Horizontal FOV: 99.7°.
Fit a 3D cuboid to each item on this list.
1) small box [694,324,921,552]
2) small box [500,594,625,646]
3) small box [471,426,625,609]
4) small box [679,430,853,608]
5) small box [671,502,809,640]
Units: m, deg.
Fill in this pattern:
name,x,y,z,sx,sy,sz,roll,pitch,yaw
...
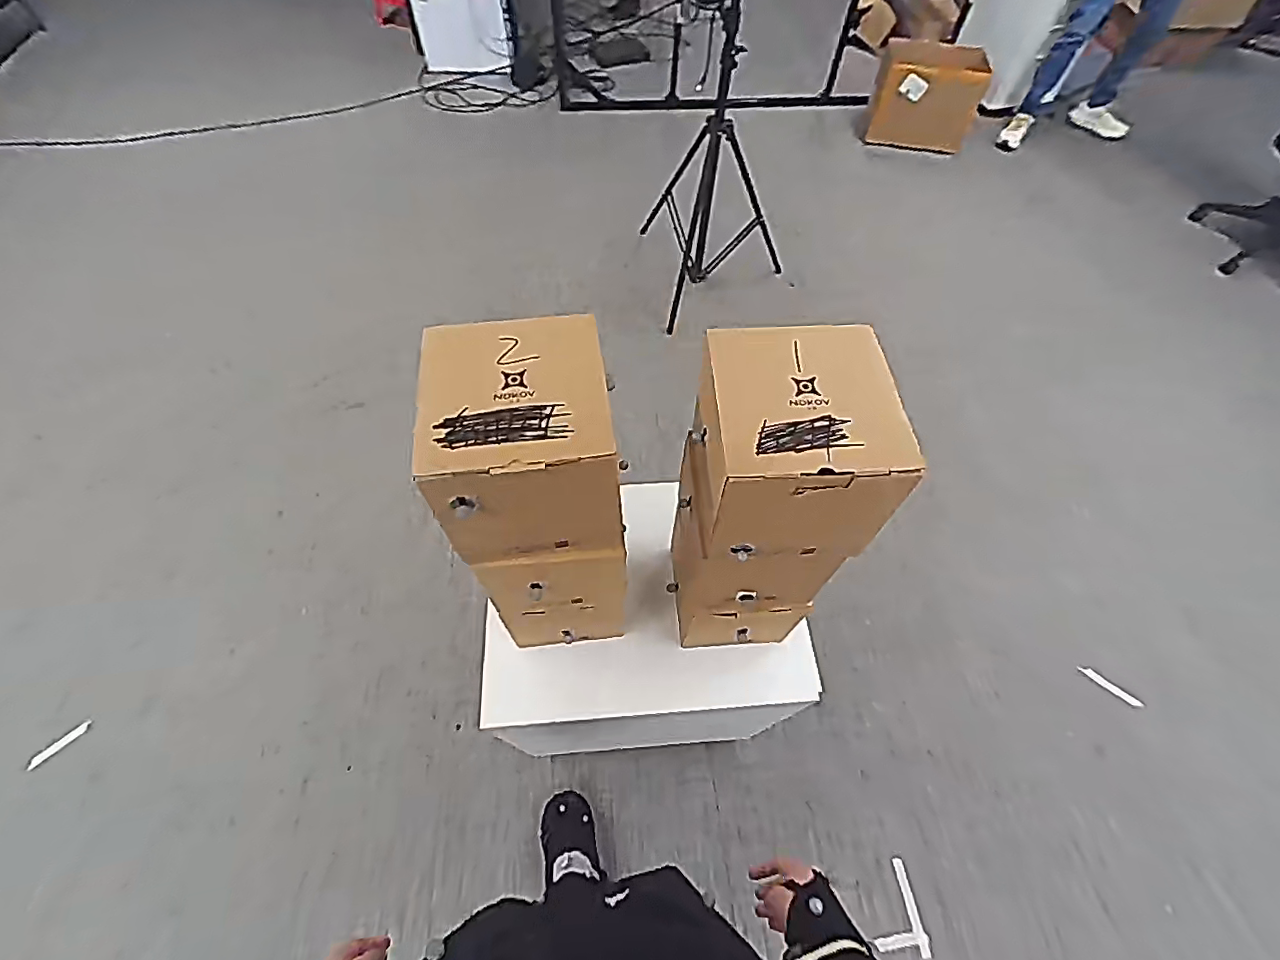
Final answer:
name,x,y,z,sx,sy,sz,roll,pitch,yaw
small box,0.148,-0.034,0.551,0.168,0.176,0.179,-2,57,-1
small box,-0.115,0.137,0.821,0.168,0.176,0.179,-5,60,-5
small box,-0.107,0.055,0.681,0.168,0.176,0.179,-4,58,-5
small box,0.144,0.050,0.693,0.168,0.176,0.179,-4,60,-2
small box,0.140,0.141,0.827,0.168,0.176,0.179,-3,60,-4
